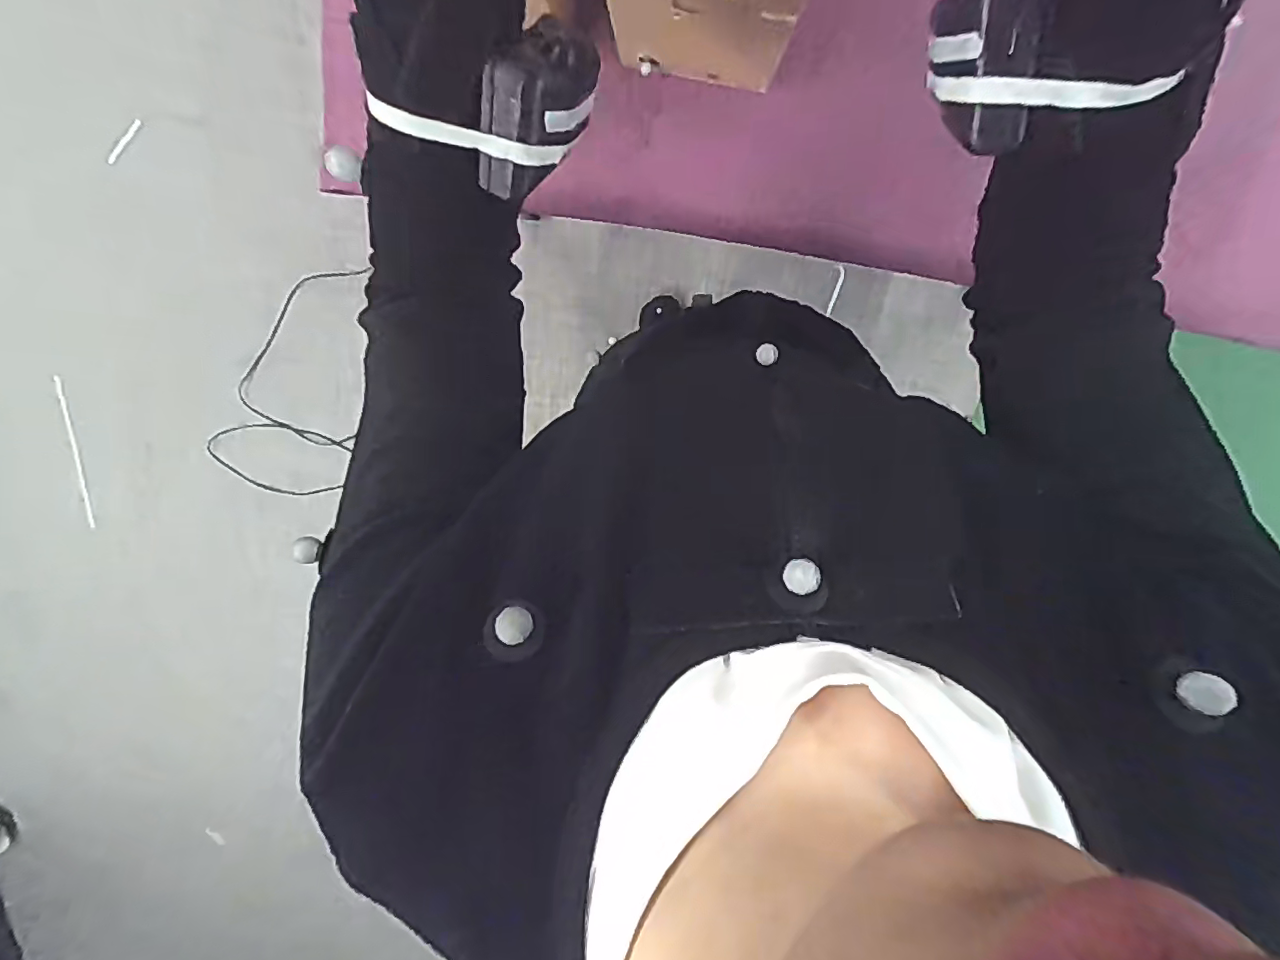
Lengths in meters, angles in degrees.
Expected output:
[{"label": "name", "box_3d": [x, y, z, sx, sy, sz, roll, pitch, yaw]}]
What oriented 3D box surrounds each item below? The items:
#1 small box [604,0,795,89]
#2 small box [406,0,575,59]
[{"label": "small box", "box_3d": [0.068, -0.498, 0.497, 0.168, 0.176, 0.179, 11, 108, 0]}, {"label": "small box", "box_3d": [-0.148, -0.538, 0.498, 0.168, 0.176, 0.179, 10, 109, 1]}]
